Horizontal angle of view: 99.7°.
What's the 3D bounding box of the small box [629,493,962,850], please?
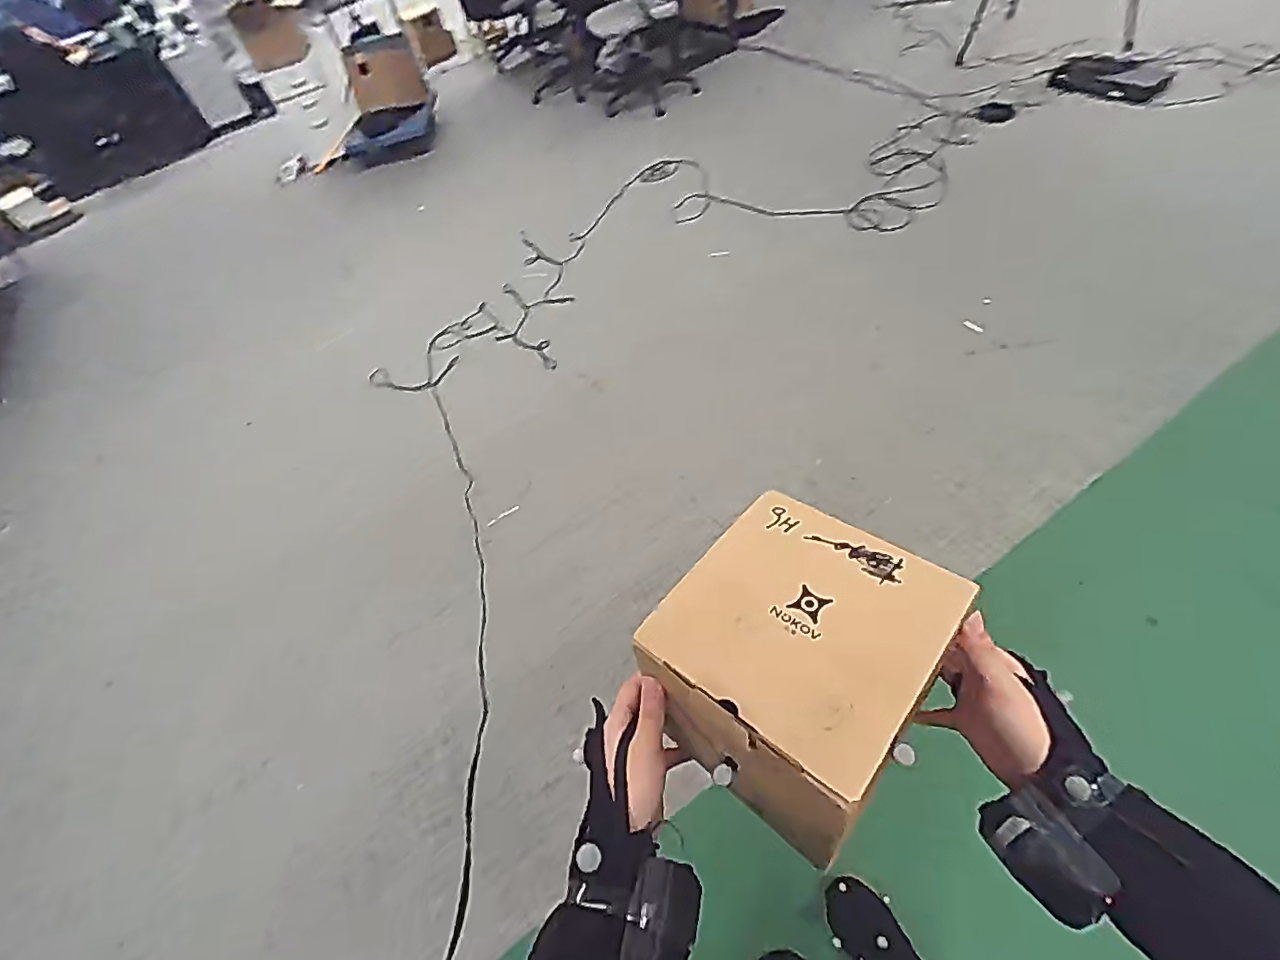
[{"bbox_3d":[0.120,0.149,0.431,0.168,0.176,0.179,28,58,34],"label":"small box"}]
